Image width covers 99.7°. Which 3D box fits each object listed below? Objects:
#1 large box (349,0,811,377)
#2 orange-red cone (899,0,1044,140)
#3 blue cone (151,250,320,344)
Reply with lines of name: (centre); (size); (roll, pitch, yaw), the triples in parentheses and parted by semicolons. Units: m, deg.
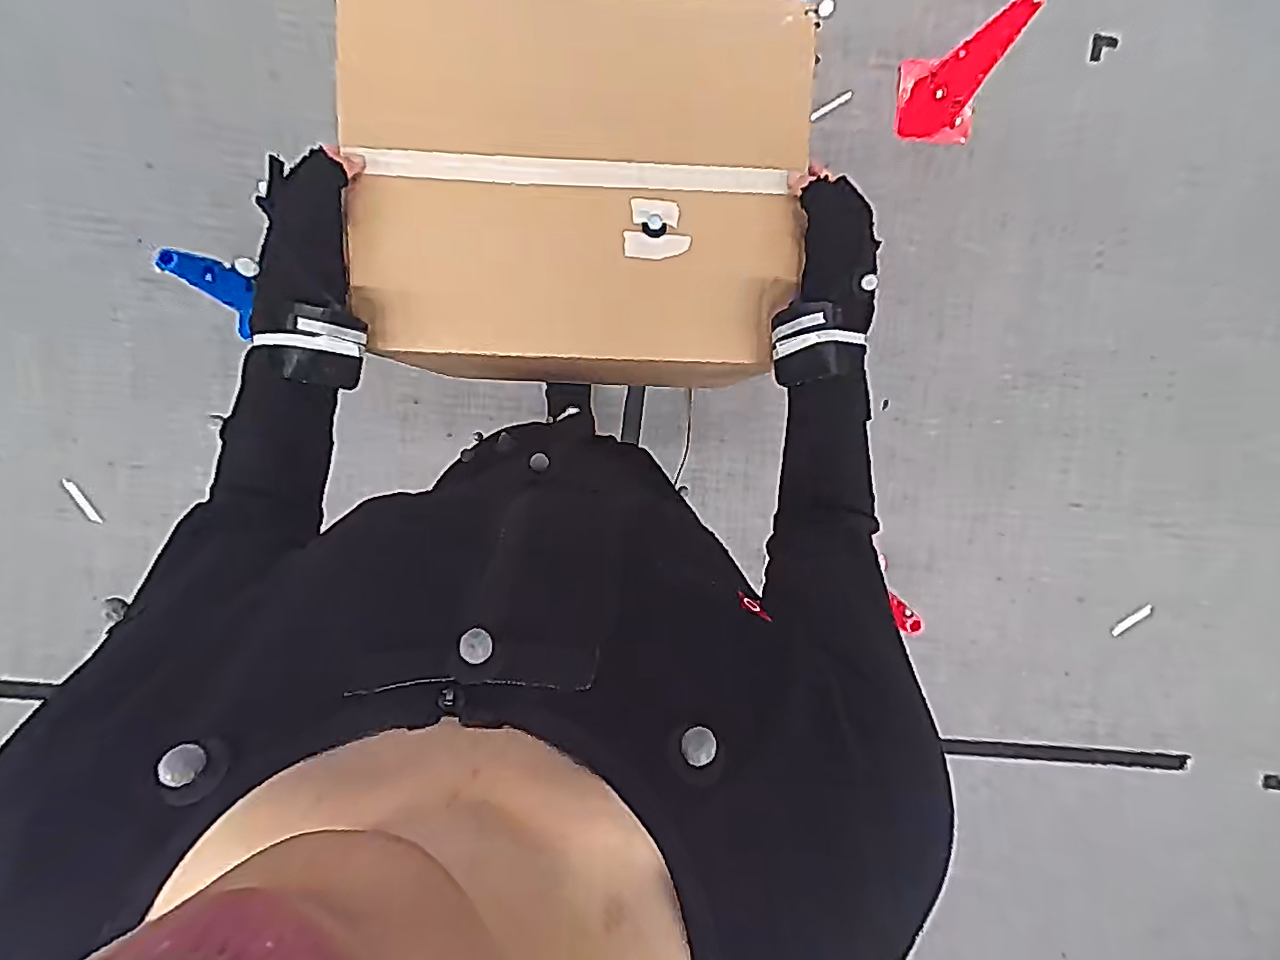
large box: (-0.060, -0.291, 0.624); (0.408, 0.320, 0.320); (1, 96, -4)
orange-red cone: (0.786, -0.988, 1.240); (0.198, 0.360, 0.199); (3, 93, -4)
blue cone: (-0.917, -0.437, 1.222); (0.192, 0.380, 0.193); (9, 94, -2)
